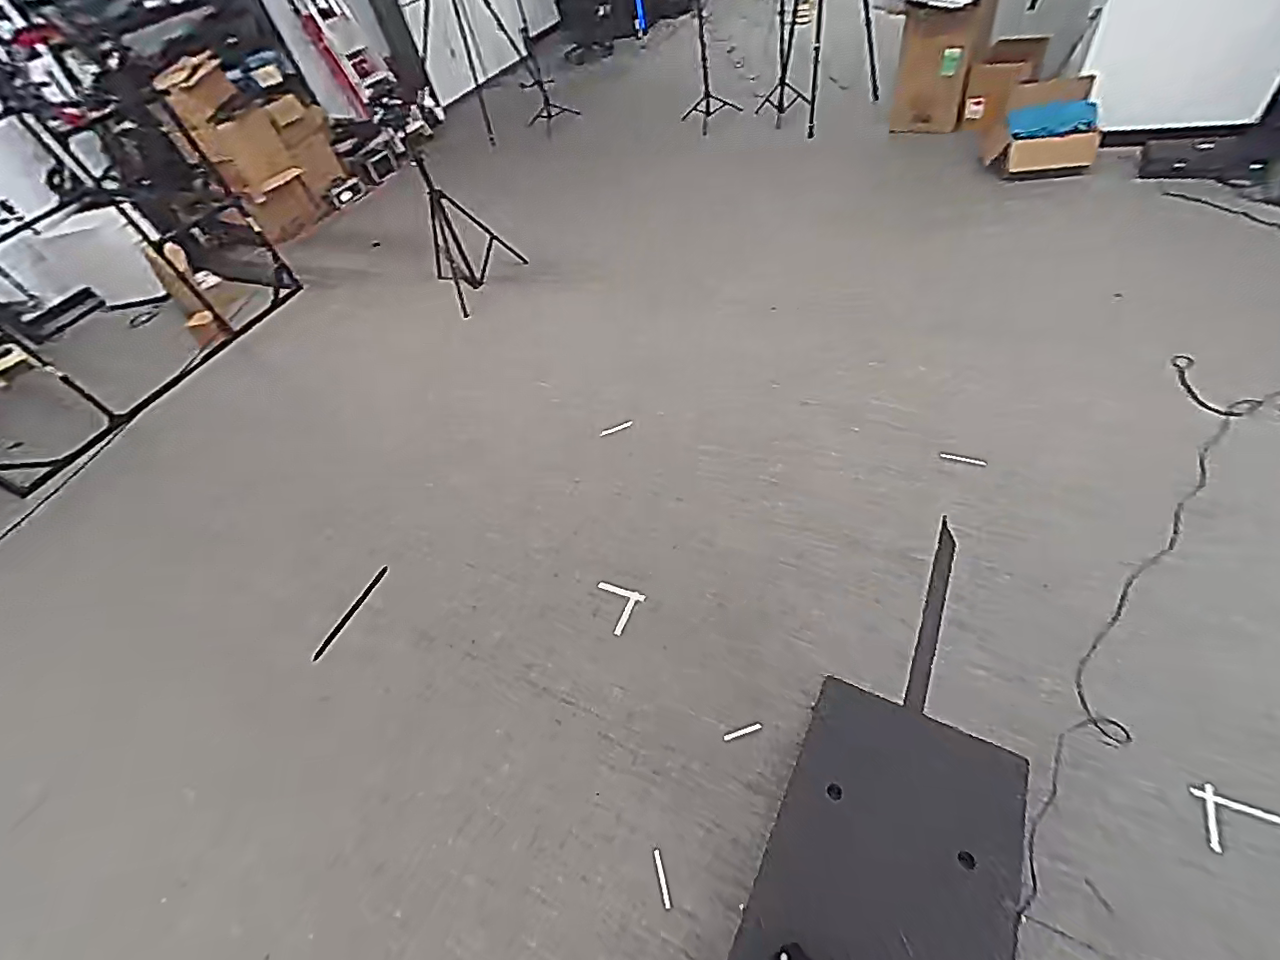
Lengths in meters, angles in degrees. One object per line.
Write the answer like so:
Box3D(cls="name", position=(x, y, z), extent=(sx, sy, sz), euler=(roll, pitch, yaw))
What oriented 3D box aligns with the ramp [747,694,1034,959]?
Box3D(cls="ramp", position=(0.502, 0.946, 1.101), extent=(0.509, 0.206, 0.991), euler=(12, 53, 27))
